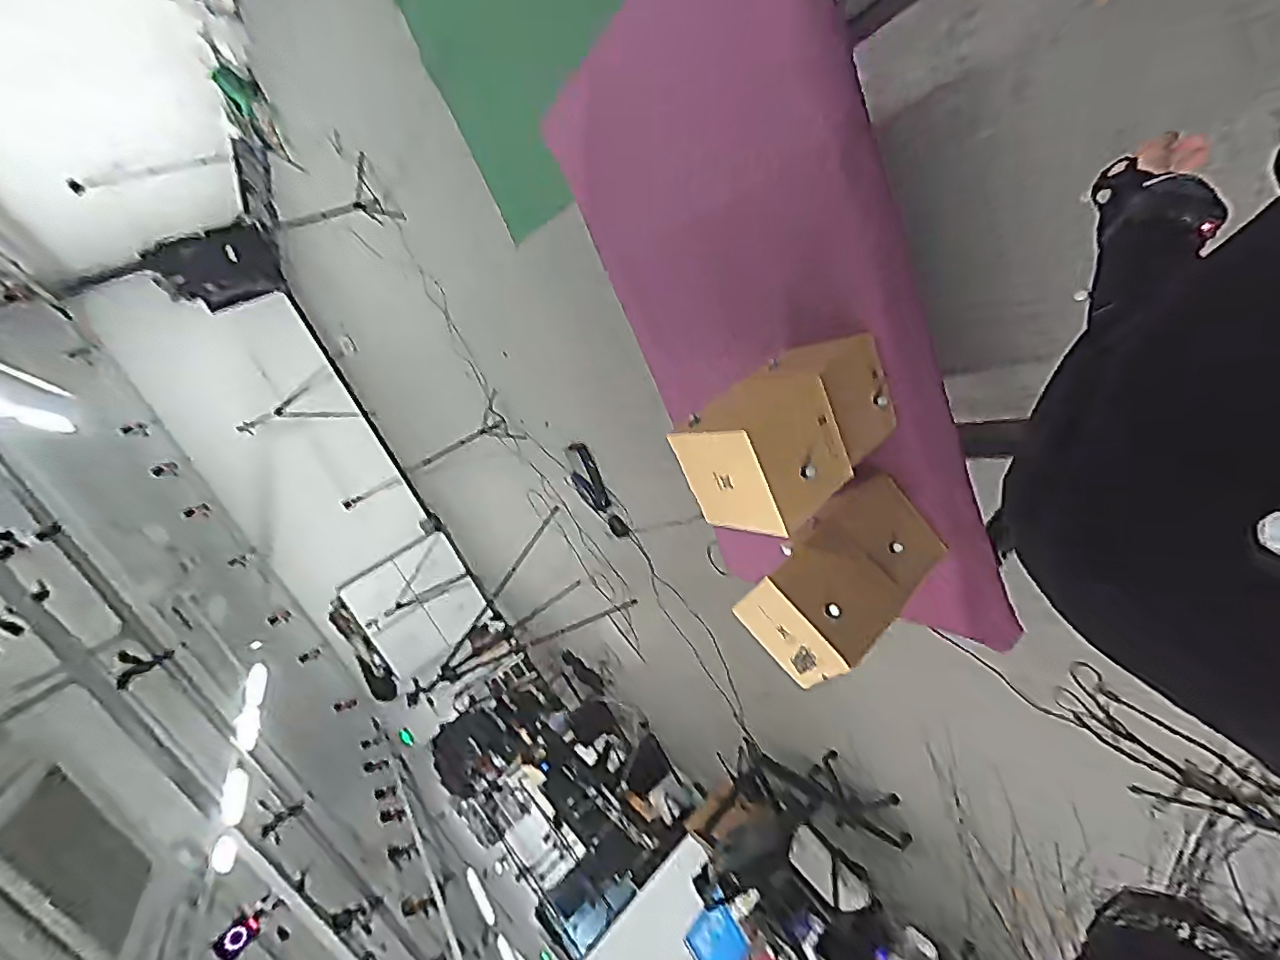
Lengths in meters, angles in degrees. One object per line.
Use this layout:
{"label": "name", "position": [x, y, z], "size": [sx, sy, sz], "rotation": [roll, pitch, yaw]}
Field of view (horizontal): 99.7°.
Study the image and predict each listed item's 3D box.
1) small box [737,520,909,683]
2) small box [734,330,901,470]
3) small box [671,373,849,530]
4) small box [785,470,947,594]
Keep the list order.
{"label": "small box", "position": [0.299, 0.199, 0.891], "size": [0.179, 0.176, 0.168], "rotation": [48, 152, 16]}
{"label": "small box", "position": [0.294, -0.129, 0.897], "size": [0.179, 0.176, 0.168], "rotation": [4, 125, 57]}
{"label": "small box", "position": [0.185, -0.046, 0.808], "size": [0.179, 0.176, 0.168], "rotation": [4, 126, 58]}
{"label": "small box", "position": [0.409, 0.113, 0.980], "size": [0.179, 0.176, 0.168], "rotation": [52, 152, 5]}
